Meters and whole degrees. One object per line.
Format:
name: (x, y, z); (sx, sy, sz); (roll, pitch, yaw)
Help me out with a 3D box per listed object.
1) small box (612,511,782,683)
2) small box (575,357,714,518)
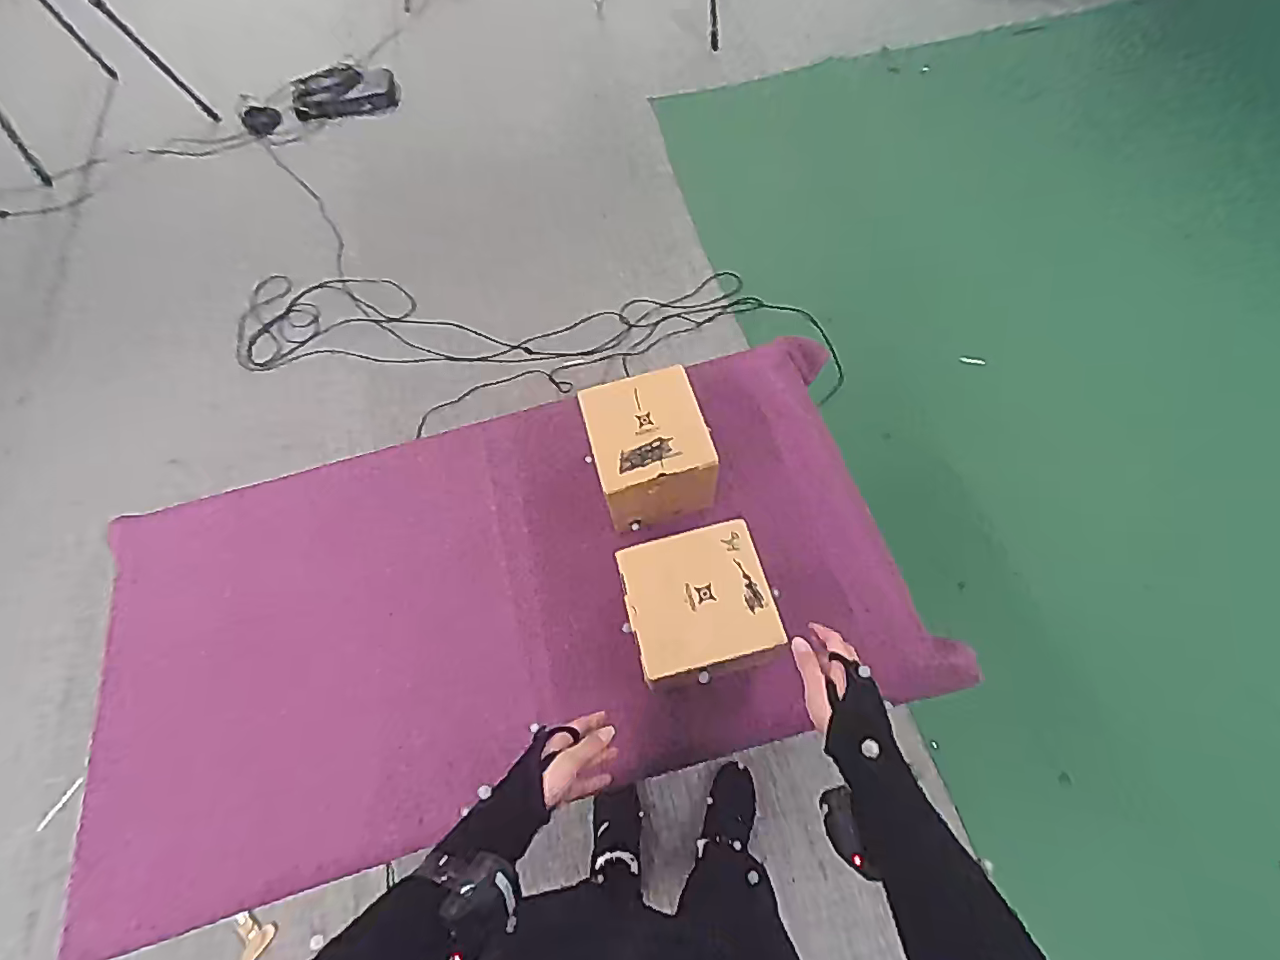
small box: (0.072, 0.165, 0.727); (0.179, 0.176, 0.168); (-14, 64, -1)
small box: (0.010, -0.054, 0.832); (0.168, 0.176, 0.179); (-15, 65, -3)
